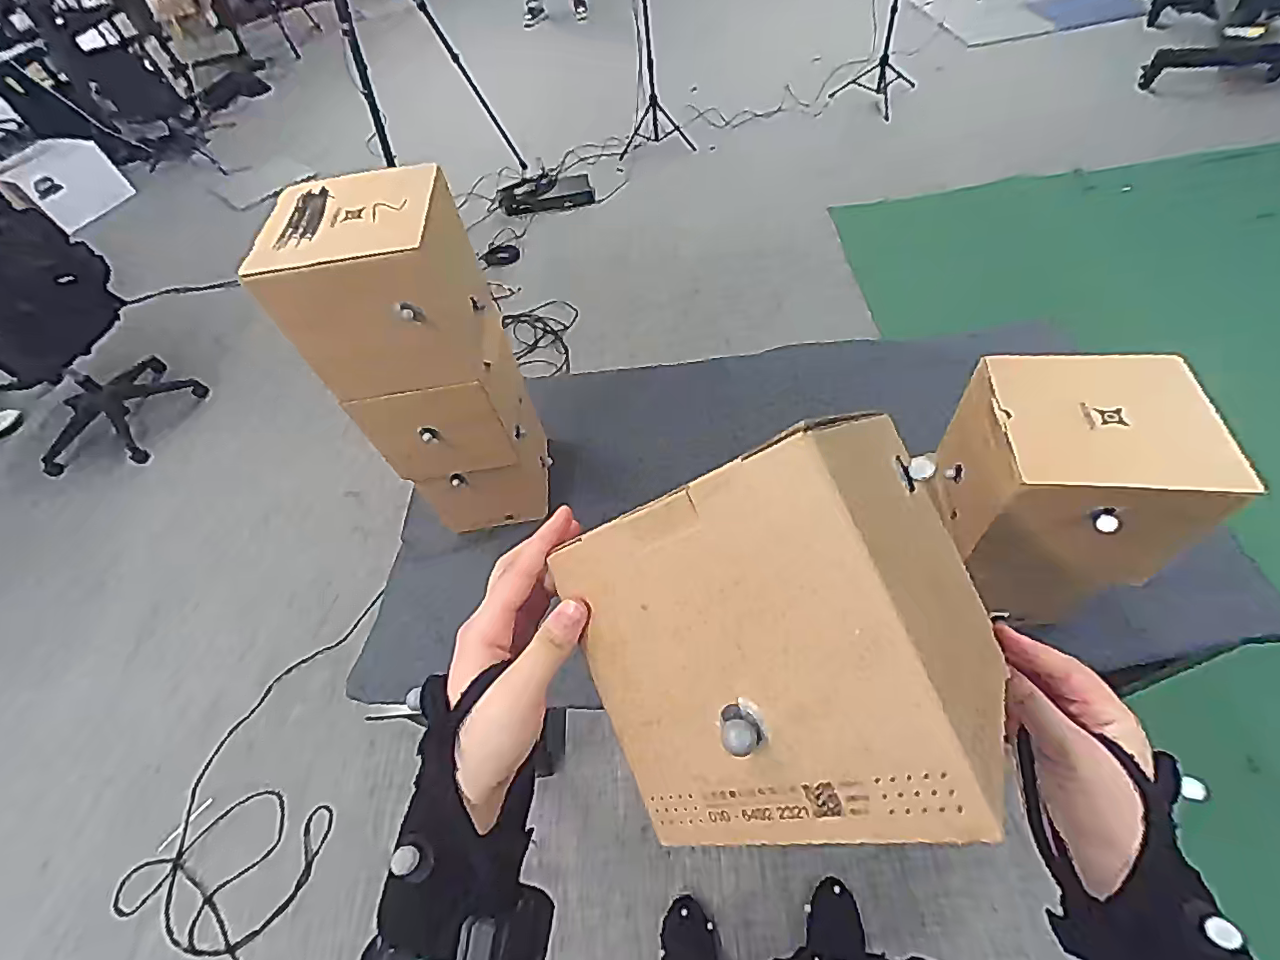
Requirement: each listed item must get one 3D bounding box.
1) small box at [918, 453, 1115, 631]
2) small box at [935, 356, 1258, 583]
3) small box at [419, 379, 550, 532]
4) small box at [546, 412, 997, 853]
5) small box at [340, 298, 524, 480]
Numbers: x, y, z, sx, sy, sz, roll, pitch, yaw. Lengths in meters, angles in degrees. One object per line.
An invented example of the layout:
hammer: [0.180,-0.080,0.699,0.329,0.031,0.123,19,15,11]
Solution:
small box: [0.450,0.078,0.689,0.168,0.176,0.179,-6,53,6]
small box: [0.429,-0.006,0.551,0.179,0.176,0.168,2,54,13]
small box: [-0.248,-0.037,0.887,0.168,0.176,0.179,-9,54,2]
small box: [0.082,0.075,0.318,0.168,0.179,0.176,-28,83,36]
small box: [-0.267,-0.119,0.744,0.179,0.176,0.168,-9,55,3]
